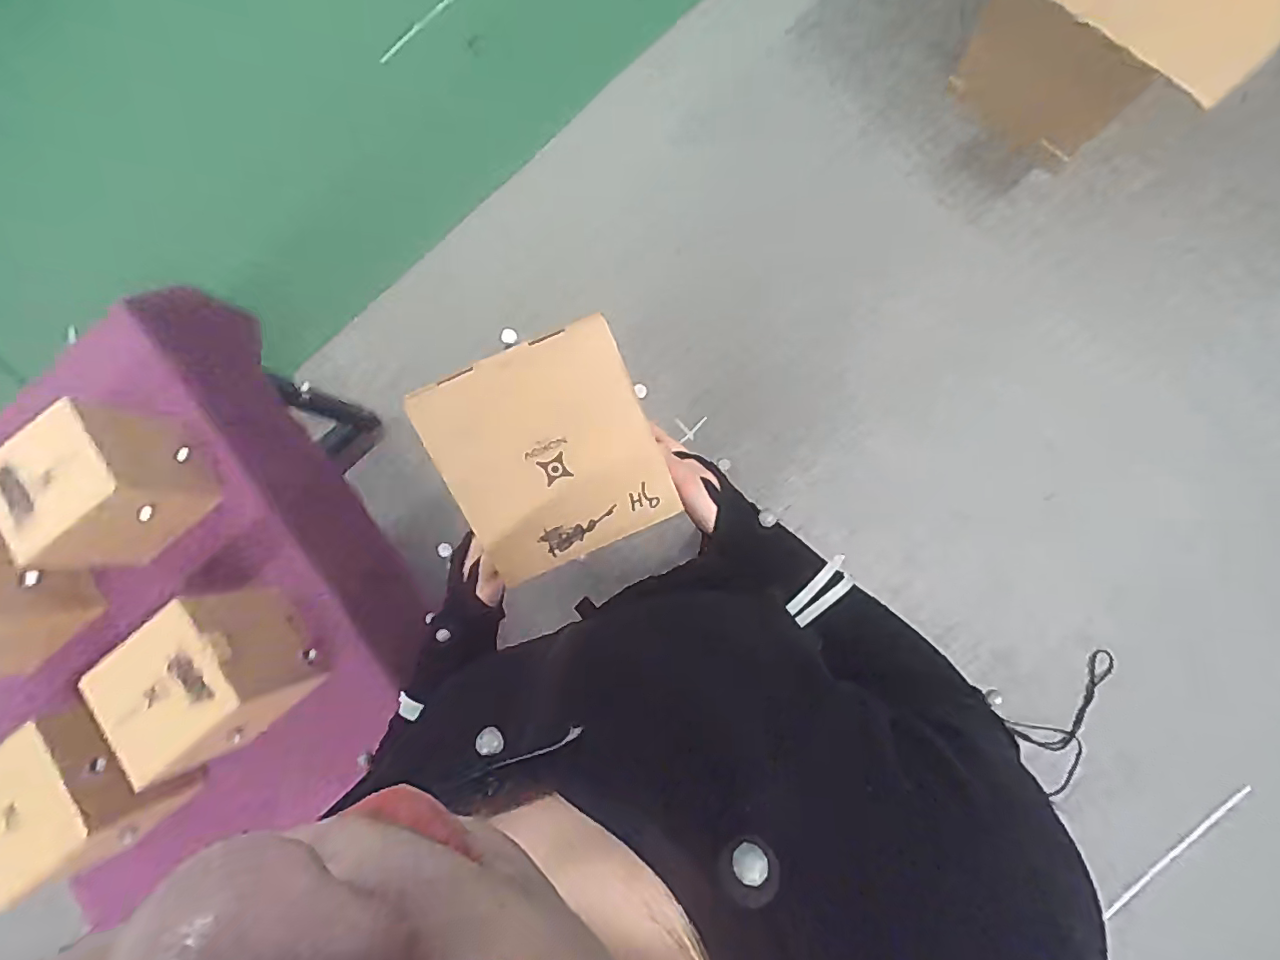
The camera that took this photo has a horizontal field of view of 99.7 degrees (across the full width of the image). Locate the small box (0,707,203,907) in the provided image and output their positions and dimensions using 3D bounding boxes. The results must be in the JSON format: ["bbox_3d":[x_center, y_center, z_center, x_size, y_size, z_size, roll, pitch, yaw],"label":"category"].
[{"bbox_3d":[-0.787,0.434,0.771,0.168,0.176,0.179,-38,79,1],"label":"small box"}]

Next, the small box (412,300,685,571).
[{"bbox_3d":[-0.076,-0.050,0.503,0.168,0.176,0.179,-22,108,1],"label":"small box"}]

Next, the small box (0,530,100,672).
[{"bbox_3d":[-0.994,0.186,0.829,0.179,0.176,0.168,-38,80,3],"label":"small box"}]

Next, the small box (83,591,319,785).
[{"bbox_3d":[-0.596,0.274,0.763,0.179,0.176,0.168,-40,80,3],"label":"small box"}]
